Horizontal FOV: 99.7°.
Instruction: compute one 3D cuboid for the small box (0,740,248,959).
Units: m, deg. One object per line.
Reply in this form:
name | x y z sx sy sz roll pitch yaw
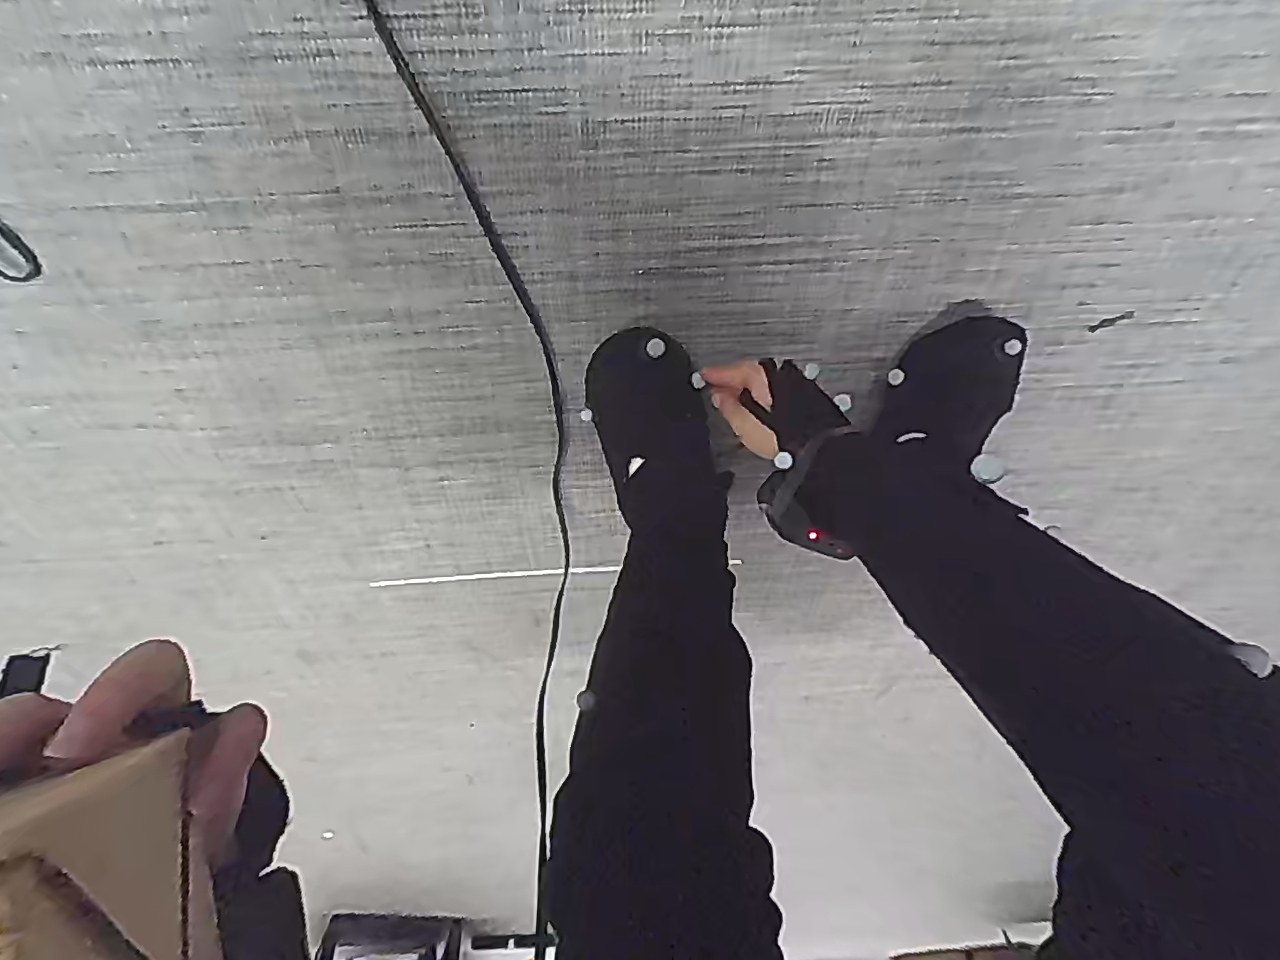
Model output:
small box | -0.152 0.153 0.072 0.176 0.168 0.179 -9 168 -37
